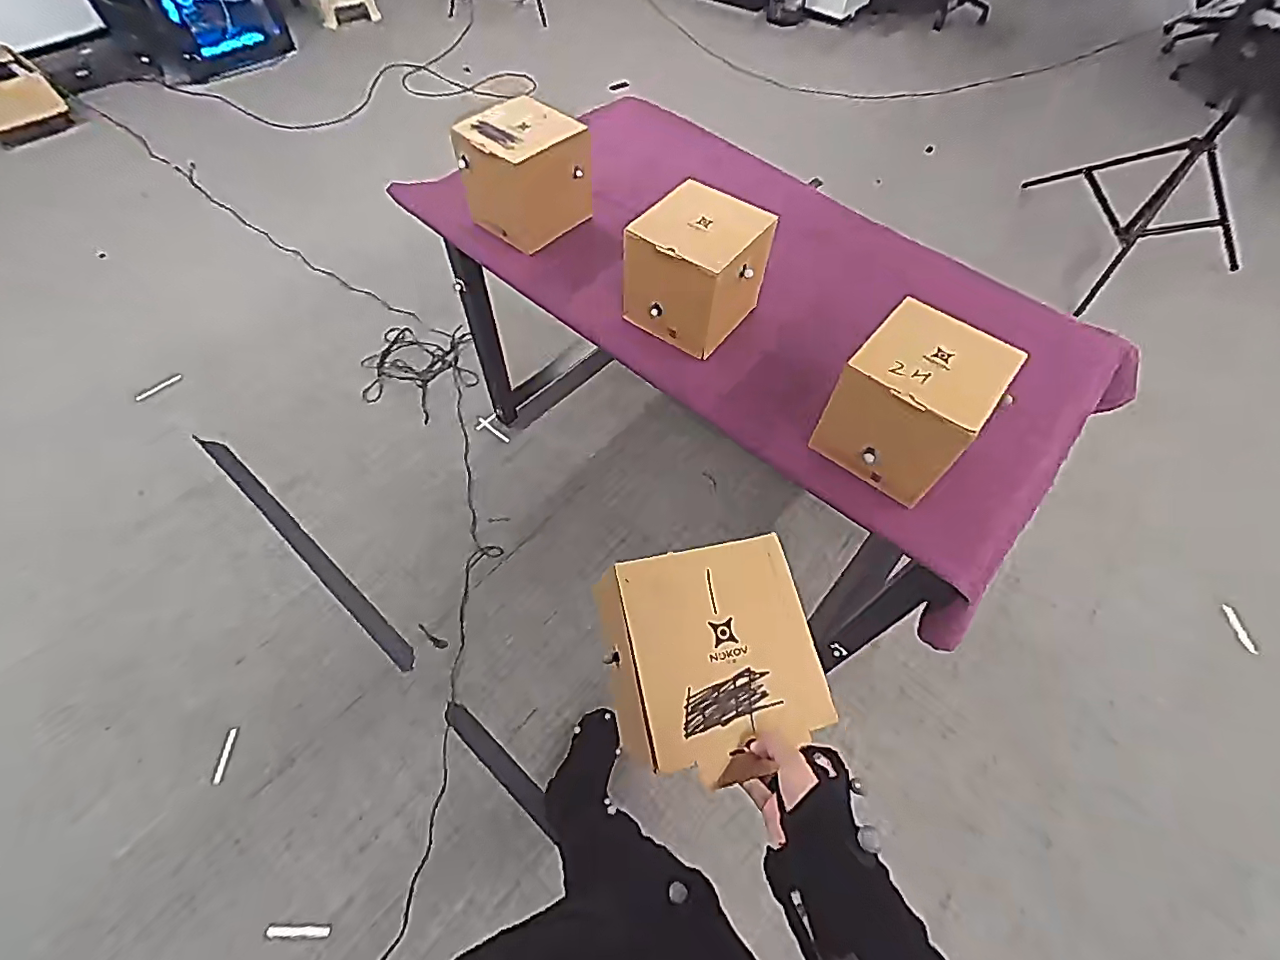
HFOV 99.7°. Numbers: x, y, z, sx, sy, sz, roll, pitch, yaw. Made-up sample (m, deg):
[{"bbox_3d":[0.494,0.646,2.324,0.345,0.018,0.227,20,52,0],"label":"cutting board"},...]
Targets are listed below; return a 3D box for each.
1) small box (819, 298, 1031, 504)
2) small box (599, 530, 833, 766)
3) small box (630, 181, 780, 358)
[{"bbox_3d":[0.369,-0.103,0.729,0.168,0.176,0.179,36,63,20],"label":"small box"},{"bbox_3d":[0.060,0.164,0.550,0.168,0.176,0.179,-8,72,-15],"label":"small box"},{"bbox_3d":[0.093,-0.332,0.863,0.168,0.176,0.179,33,63,17],"label":"small box"}]
